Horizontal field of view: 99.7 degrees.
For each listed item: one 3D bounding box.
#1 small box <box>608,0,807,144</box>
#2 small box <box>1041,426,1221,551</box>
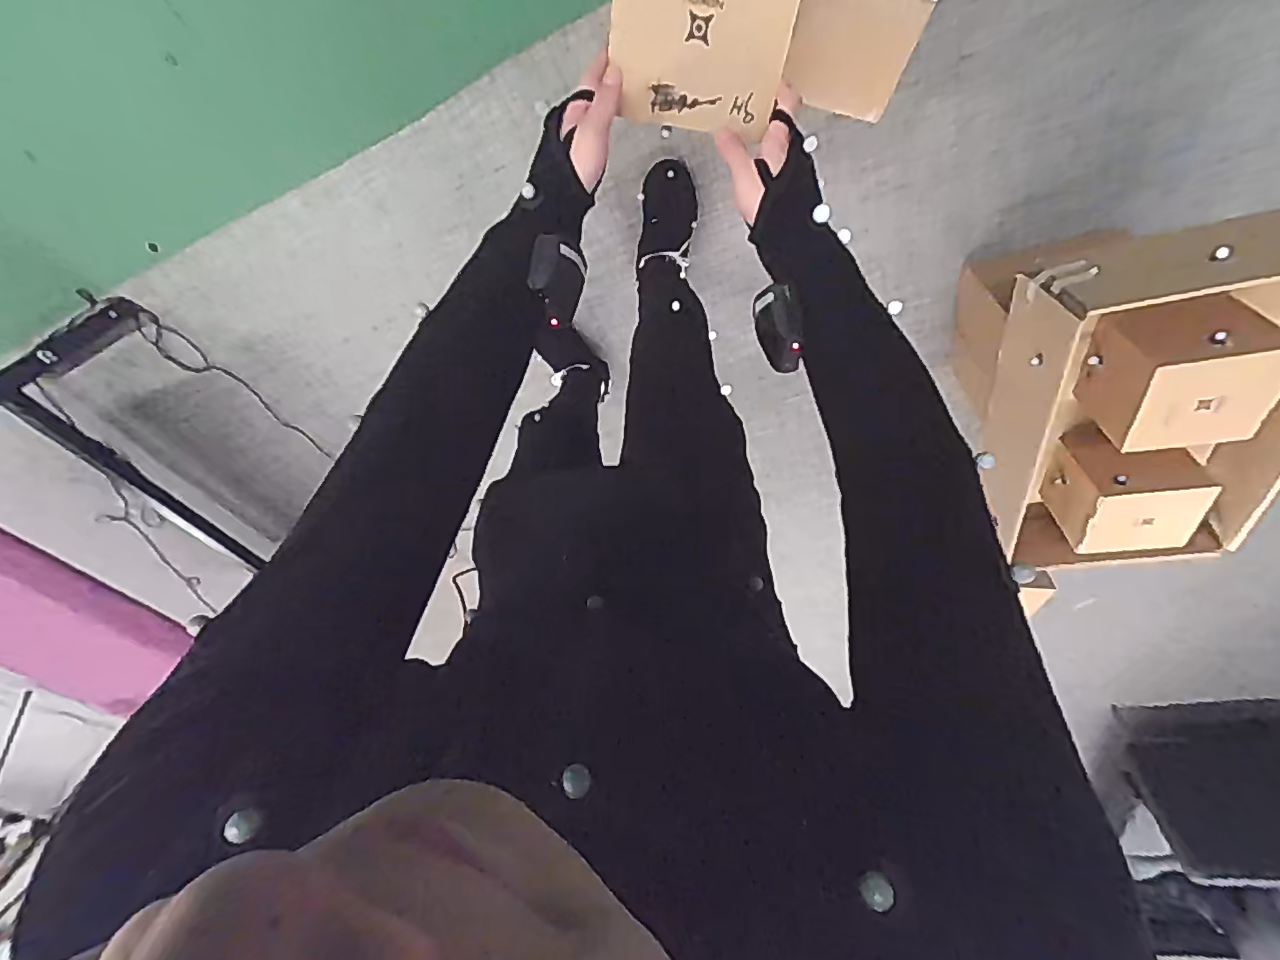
[{"bbox_3d":[0.068,-0.463,0.539,0.168,0.176,0.179,10,131,0],"label":"small box"},{"bbox_3d":[0.917,0.014,1.032,0.179,0.176,0.168,-7,134,14],"label":"small box"}]
